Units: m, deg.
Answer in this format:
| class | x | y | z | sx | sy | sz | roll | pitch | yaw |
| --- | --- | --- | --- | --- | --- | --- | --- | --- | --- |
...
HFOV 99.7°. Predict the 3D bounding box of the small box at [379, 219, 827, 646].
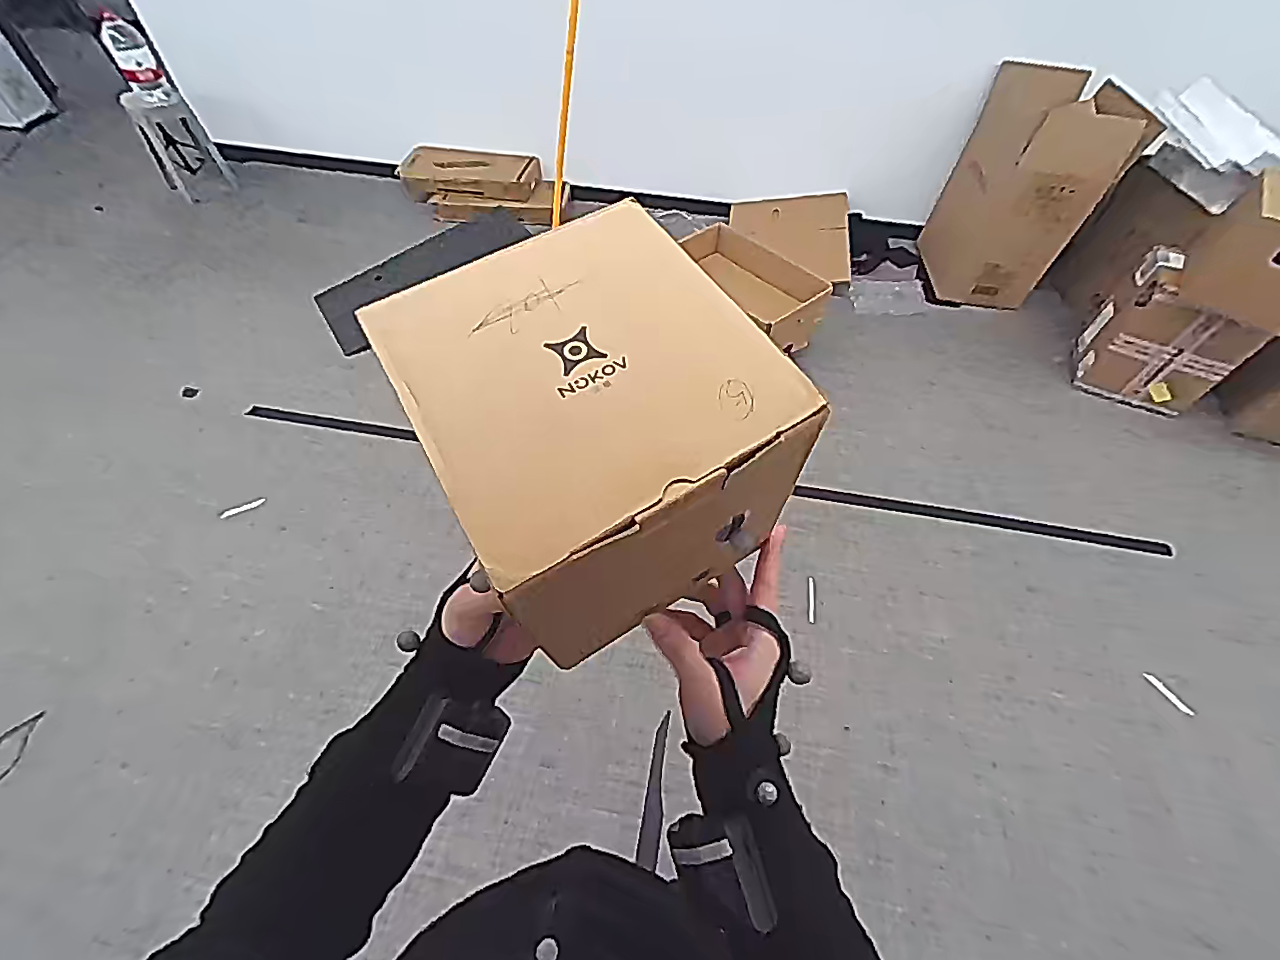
| class | x | y | z | sx | sy | sz | roll | pitch | yaw |
| --- | --- | --- | --- | --- | --- | --- | --- | --- | --- |
| small box | -0.022 | -0.016 | 0.338 | 0.168 | 0.176 | 0.179 | -30 | 65 | -15 |
